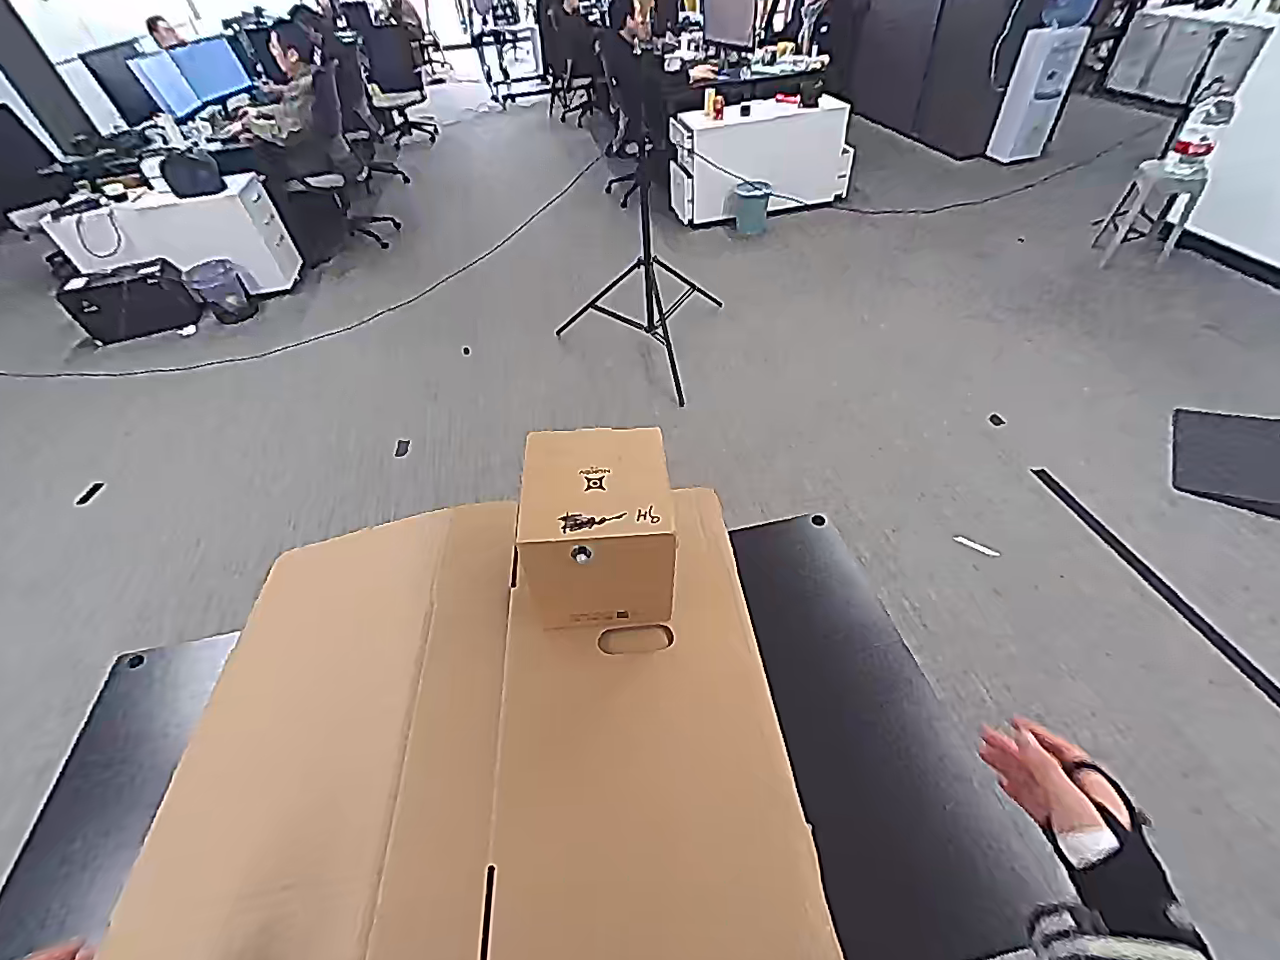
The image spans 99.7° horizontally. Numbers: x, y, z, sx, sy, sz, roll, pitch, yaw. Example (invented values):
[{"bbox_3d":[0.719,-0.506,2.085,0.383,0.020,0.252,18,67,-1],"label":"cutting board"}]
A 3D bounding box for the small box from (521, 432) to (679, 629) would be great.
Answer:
[{"bbox_3d":[-0.046,0.061,0.667,0.168,0.176,0.179,-4,43,-2],"label":"small box"}]
